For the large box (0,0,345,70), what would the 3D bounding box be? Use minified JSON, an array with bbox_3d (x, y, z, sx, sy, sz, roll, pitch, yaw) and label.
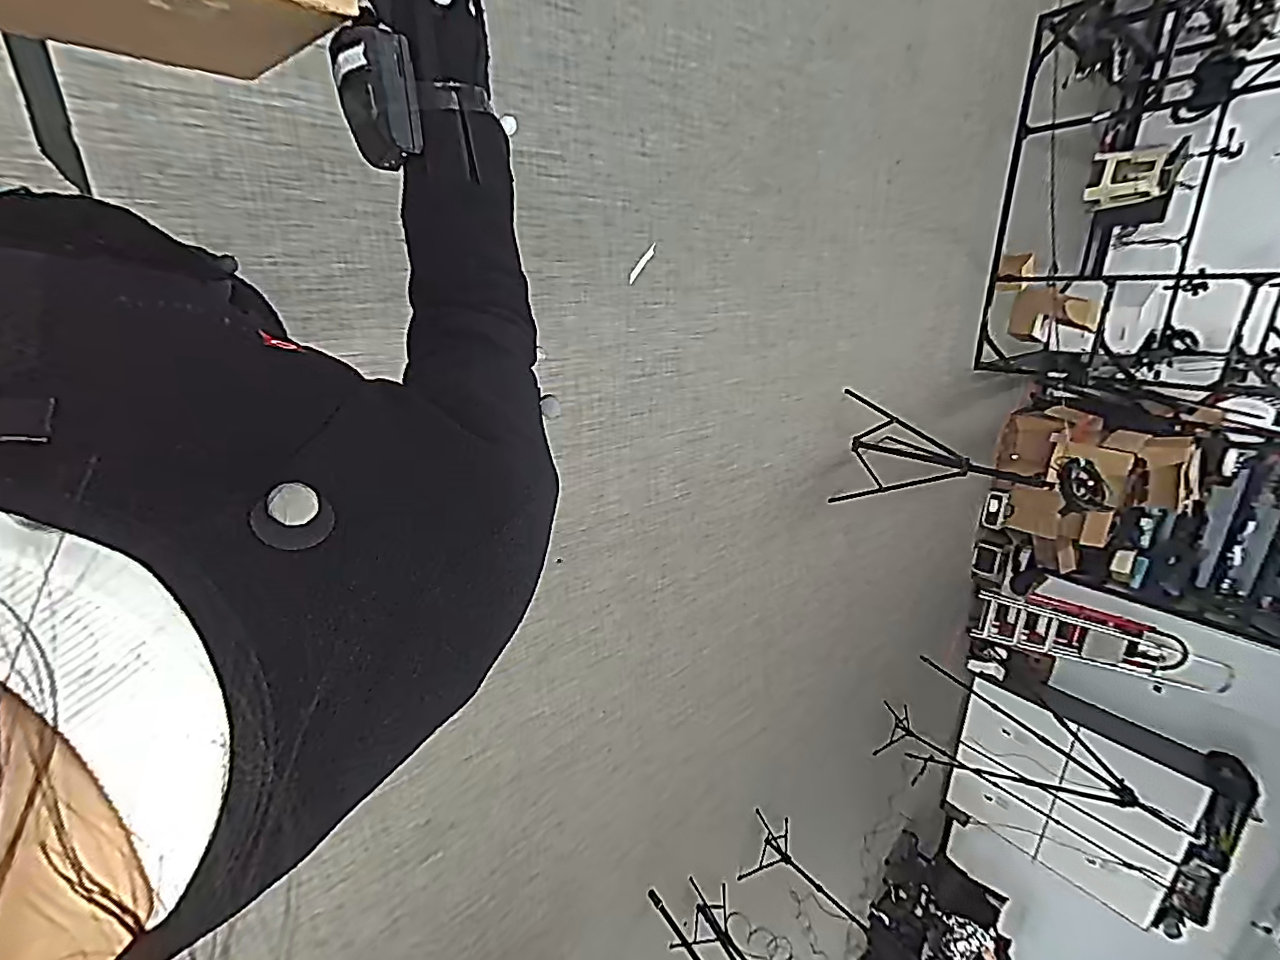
[{"bbox_3d":[-0.401,-0.411,0.217,0.408,0.320,0.320,-18,125,-39],"label":"large box"}]
